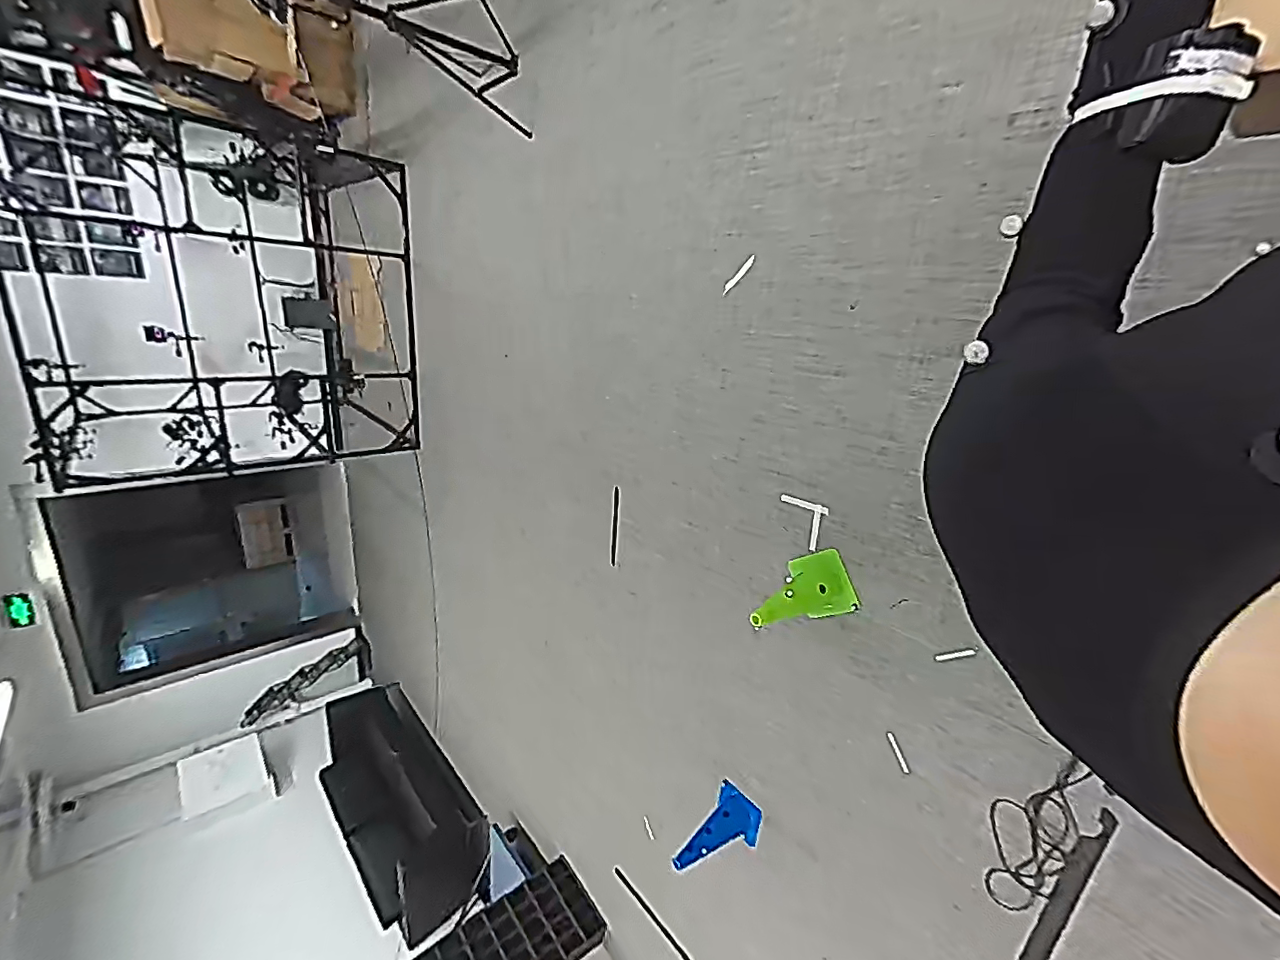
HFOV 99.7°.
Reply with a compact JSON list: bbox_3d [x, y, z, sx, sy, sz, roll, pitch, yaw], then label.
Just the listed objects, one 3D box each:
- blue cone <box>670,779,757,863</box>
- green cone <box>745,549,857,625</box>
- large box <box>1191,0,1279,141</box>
[{"bbox_3d":[0.270,1.368,2.100,0.192,0.380,0.193,28,119,44],"label":"blue cone"},{"bbox_3d":[0.450,0.356,1.626,0.202,0.368,0.200,-32,74,50],"label":"green cone"},{"bbox_3d":[0.607,-0.395,0.263,0.408,0.320,0.320,23,122,44],"label":"large box"}]
